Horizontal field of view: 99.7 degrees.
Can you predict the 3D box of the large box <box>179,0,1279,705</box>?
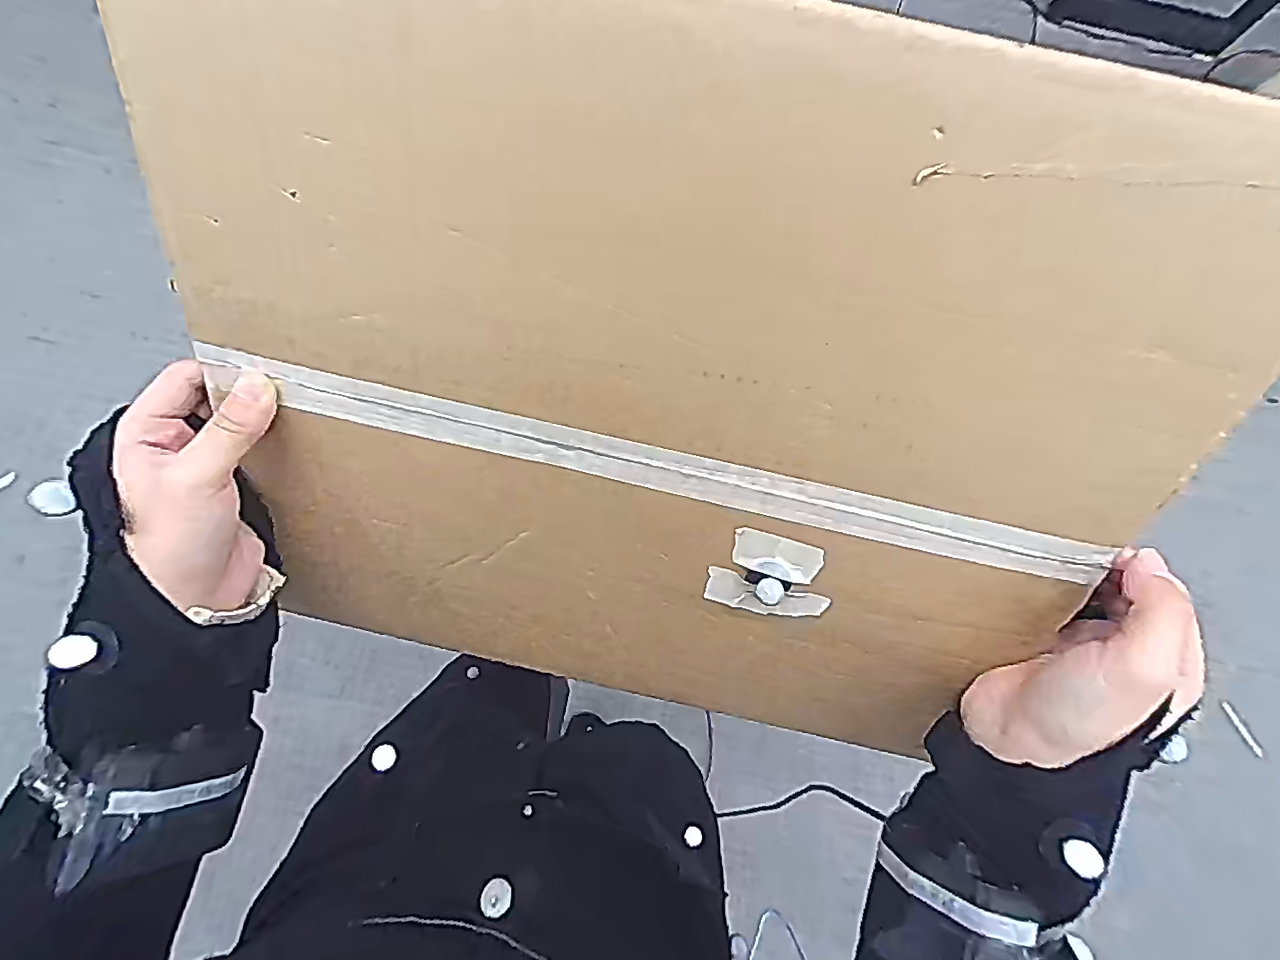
[{"bbox_3d":[0.036,-0.114,0.358,0.408,0.320,0.320,12,33,0],"label":"large box"}]
